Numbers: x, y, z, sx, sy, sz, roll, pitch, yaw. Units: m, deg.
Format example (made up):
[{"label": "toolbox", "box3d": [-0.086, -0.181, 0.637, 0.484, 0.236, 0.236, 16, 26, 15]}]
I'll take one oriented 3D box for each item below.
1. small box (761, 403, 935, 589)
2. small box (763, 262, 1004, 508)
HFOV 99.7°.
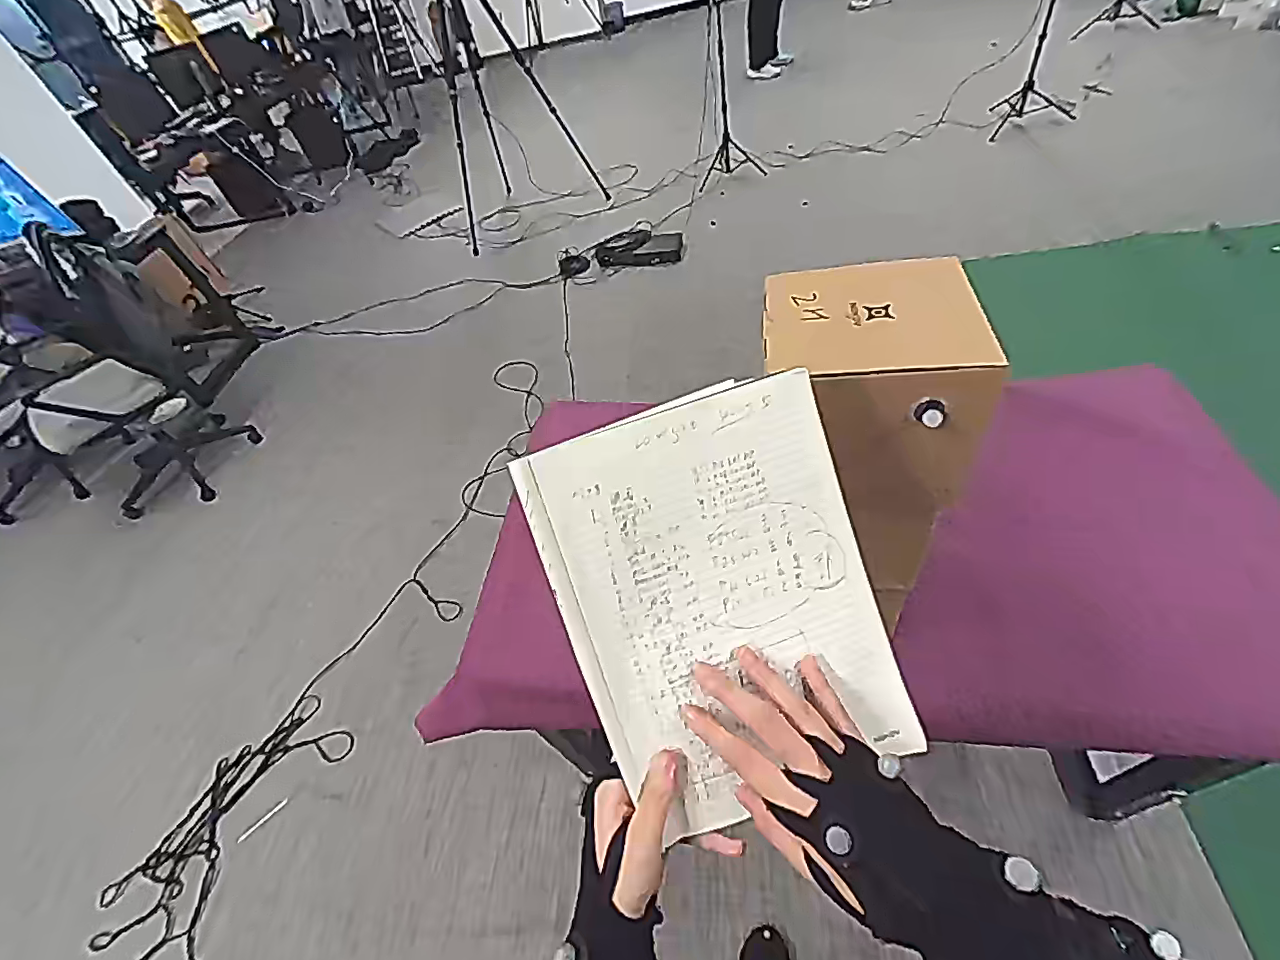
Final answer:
[{"label": "small box", "box3d": [0.234, 0.019, 0.651, 0.168, 0.176, 0.179, -2, 48, 13]}, {"label": "small box", "box3d": [0.211, -0.086, 0.525, 0.179, 0.176, 0.168, -1, 48, 14]}]
